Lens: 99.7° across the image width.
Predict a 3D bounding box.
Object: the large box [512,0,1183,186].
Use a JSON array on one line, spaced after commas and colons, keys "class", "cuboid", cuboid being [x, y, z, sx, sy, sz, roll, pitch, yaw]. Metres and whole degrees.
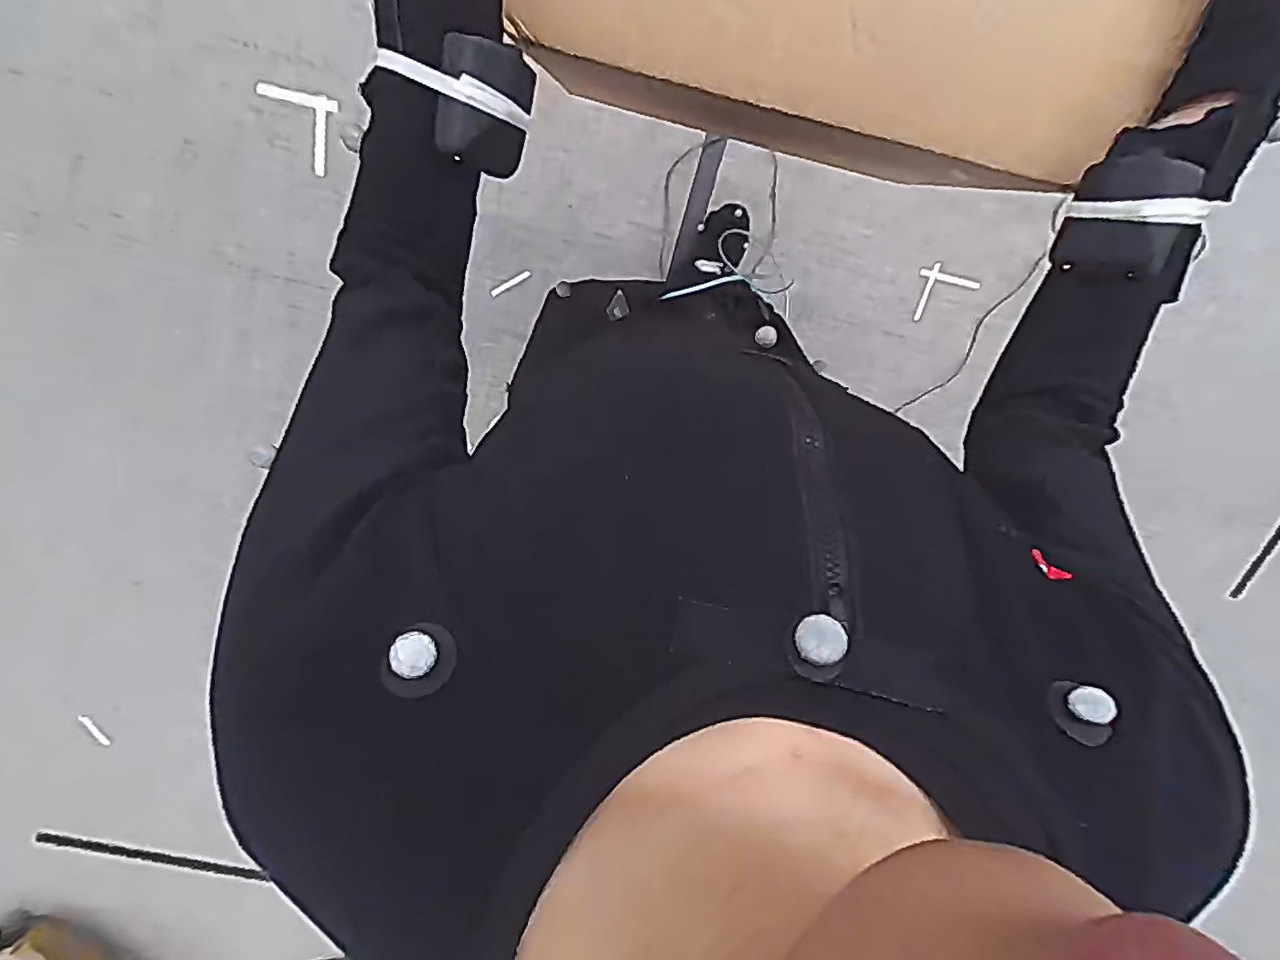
[{"class": "large box", "cuboid": [0.140, -0.440, 0.409, 0.408, 0.320, 0.320, 10, 121, -7]}]
